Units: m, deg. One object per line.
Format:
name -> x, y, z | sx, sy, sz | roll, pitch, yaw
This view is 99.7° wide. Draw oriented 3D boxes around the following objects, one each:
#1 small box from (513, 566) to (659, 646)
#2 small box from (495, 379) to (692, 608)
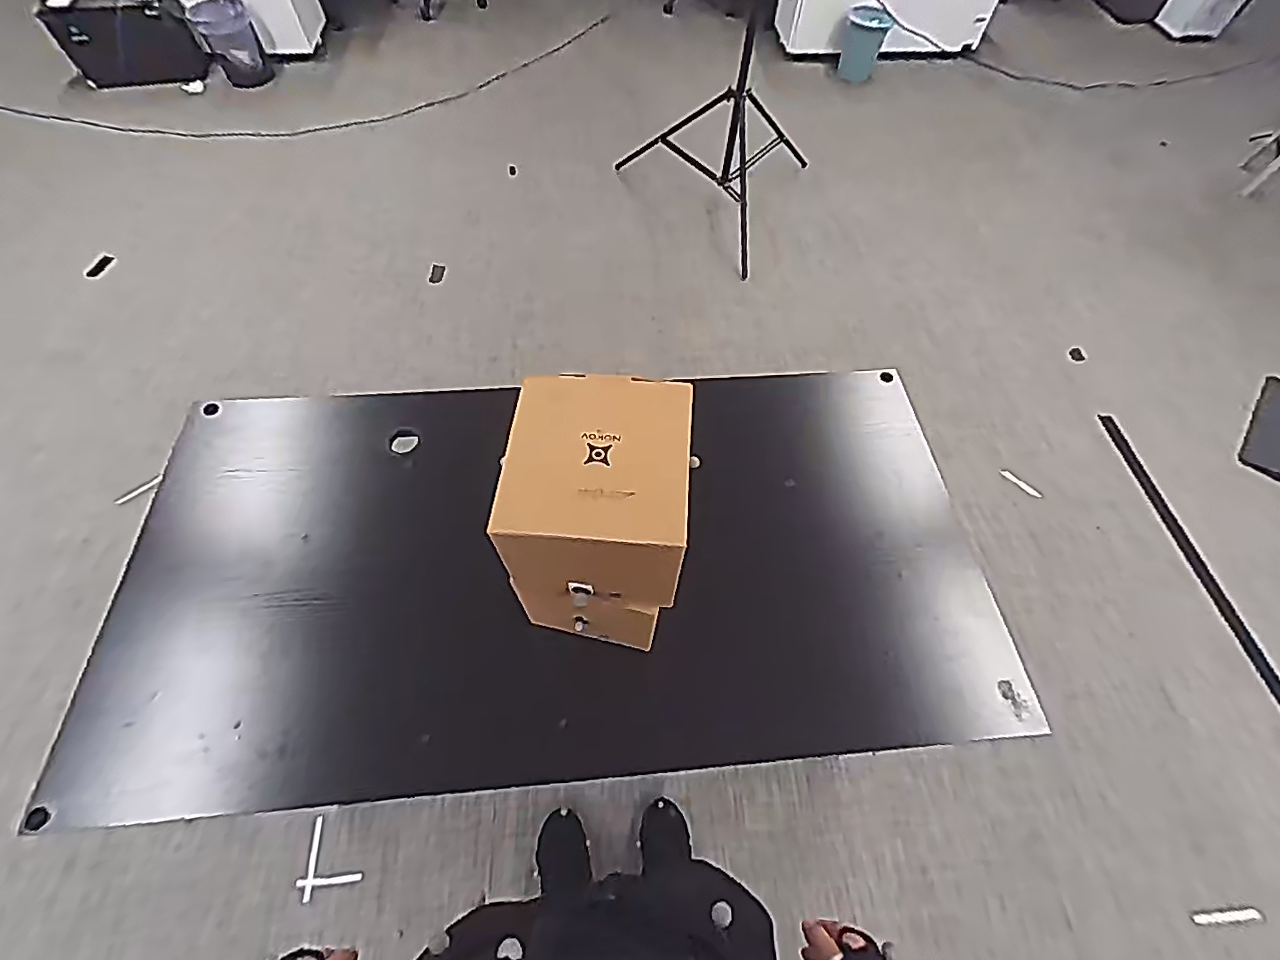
small box -> -0.047, 0.100, 0.704 | 0.168, 0.176, 0.179 | 12, 60, 5
small box -> -0.038, 0.020, 0.563 | 0.168, 0.176, 0.179 | 3, 60, 1
